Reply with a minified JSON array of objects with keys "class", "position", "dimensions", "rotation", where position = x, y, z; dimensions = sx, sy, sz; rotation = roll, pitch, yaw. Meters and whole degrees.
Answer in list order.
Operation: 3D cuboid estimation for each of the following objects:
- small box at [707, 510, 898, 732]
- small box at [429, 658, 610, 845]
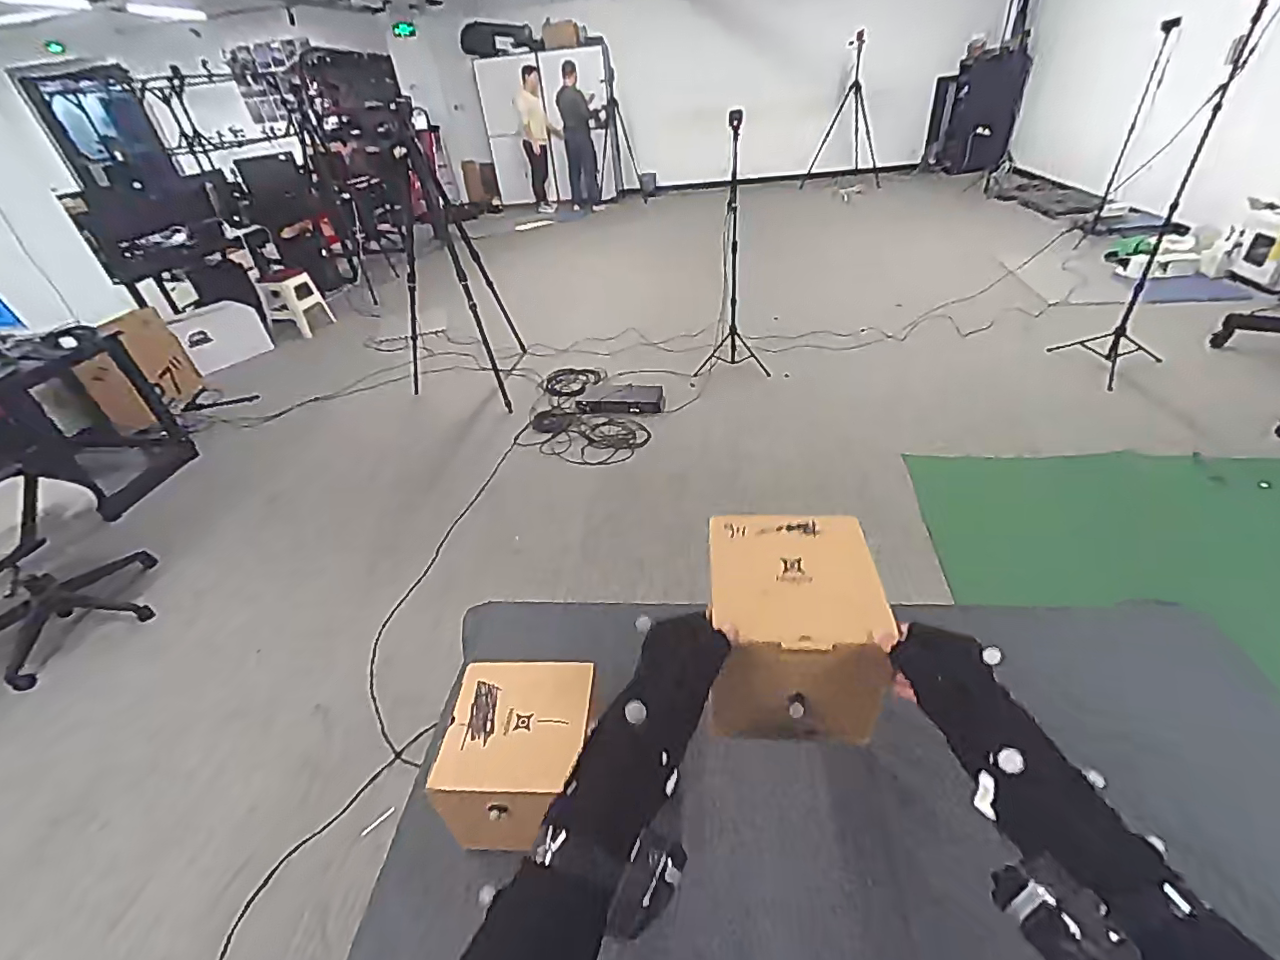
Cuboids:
[{"class":"small box","position":[0.158,0.151,0.589],"dimensions":[0.168,0.176,0.179],"rotation":[0,38,6]},{"class":"small box","position":[-0.142,0.354,0.708],"dimensions":[0.179,0.176,0.168],"rotation":[-1,37,5]}]
